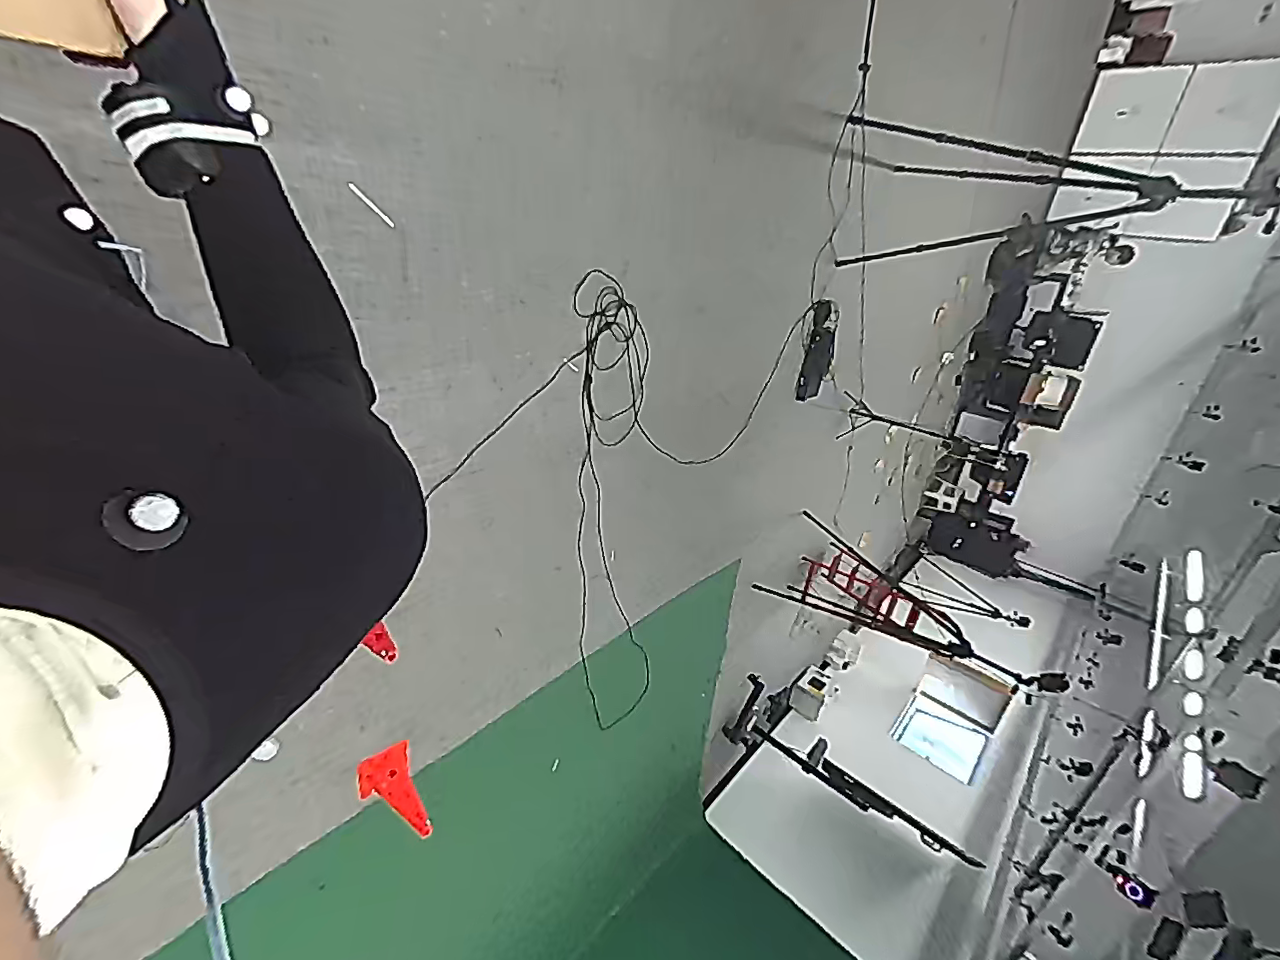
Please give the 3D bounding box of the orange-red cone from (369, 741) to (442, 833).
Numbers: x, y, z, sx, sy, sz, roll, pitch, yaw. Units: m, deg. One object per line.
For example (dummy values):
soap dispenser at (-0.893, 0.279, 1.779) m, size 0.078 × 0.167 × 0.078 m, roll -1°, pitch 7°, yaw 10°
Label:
orange-red cone at (-0.884, 1.239, 2.117) m, size 0.199 × 0.360 × 0.198 m, roll -16°, pitch 123°, yaw -47°
